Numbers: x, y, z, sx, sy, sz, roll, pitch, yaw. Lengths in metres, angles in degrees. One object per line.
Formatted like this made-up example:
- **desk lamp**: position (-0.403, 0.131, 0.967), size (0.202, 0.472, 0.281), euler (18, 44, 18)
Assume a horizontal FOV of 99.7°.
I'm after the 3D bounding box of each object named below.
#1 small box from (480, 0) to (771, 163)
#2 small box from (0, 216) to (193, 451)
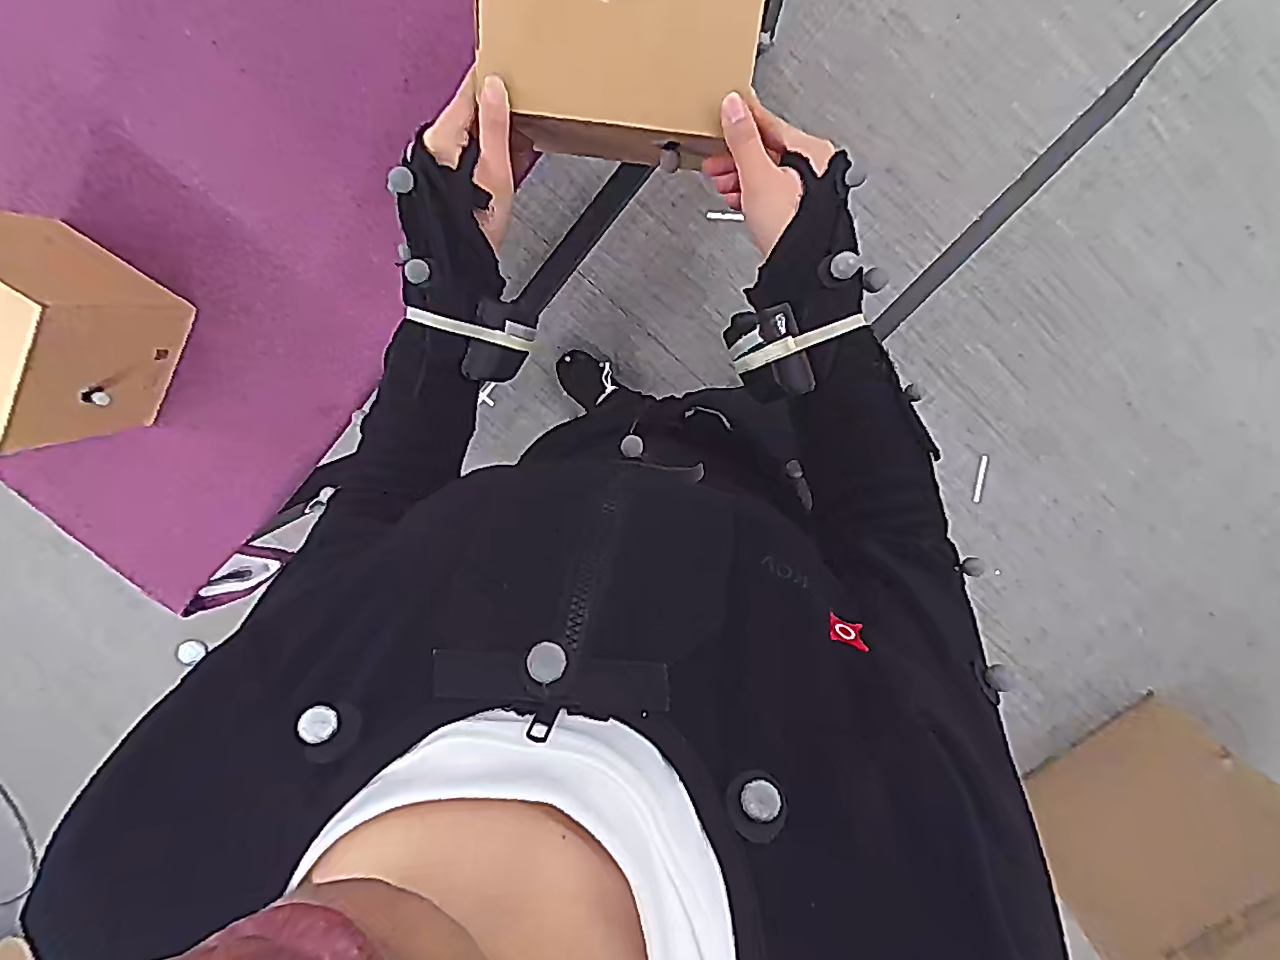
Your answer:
- **small box**: position (-0.003, -0.339, 0.388), size (0.179, 0.176, 0.168), euler (8, 113, 0)
- **small box**: position (-0.624, -0.158, 0.556), size (0.179, 0.176, 0.168), euler (33, 105, -5)
